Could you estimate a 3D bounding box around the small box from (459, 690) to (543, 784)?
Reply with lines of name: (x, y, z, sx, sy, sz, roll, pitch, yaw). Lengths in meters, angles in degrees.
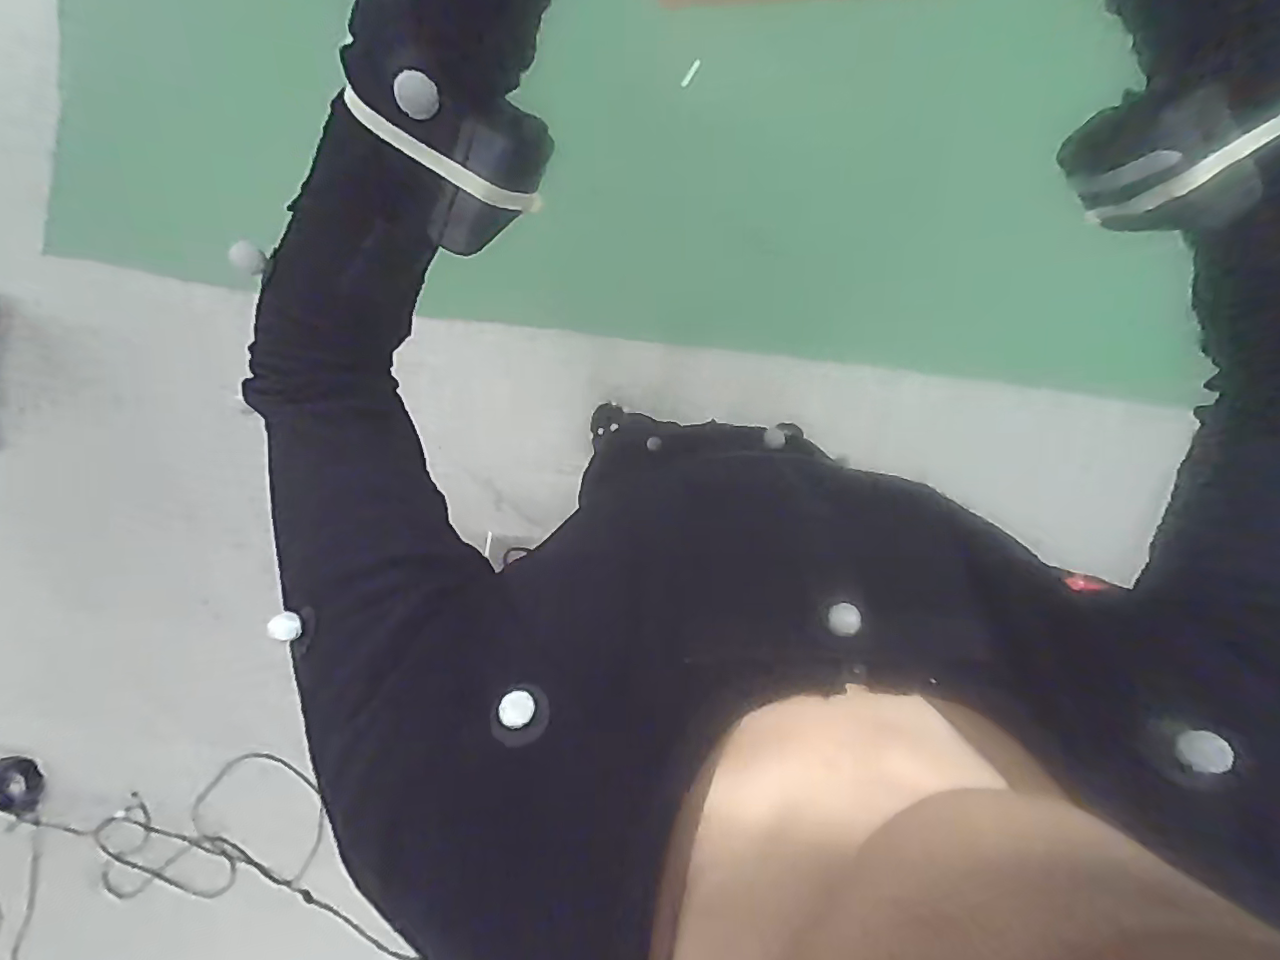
small box: (-0.374, 0.693, 1.474, 0.179, 0.176, 0.168, 5, 95, 2)
